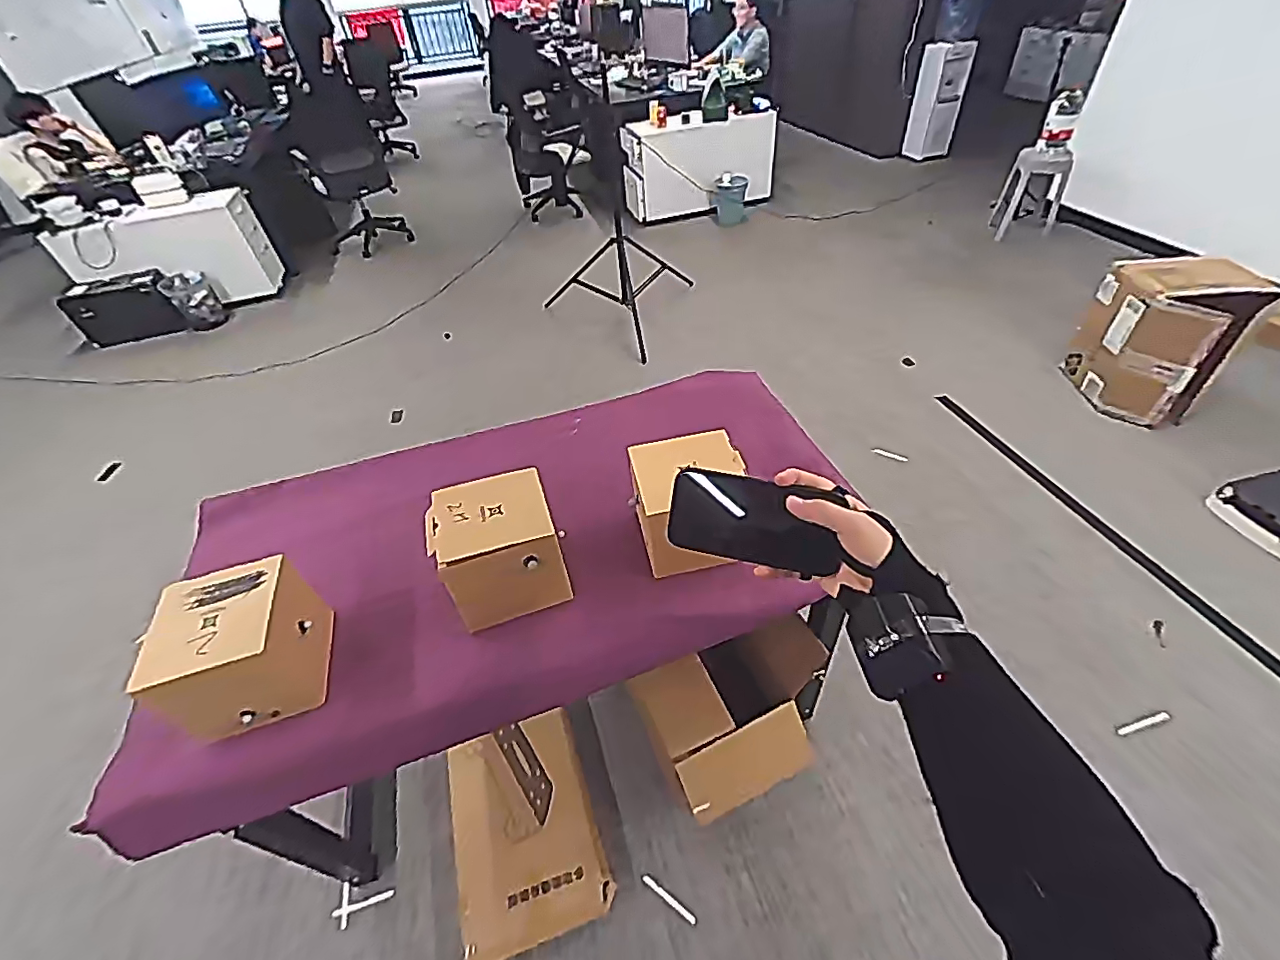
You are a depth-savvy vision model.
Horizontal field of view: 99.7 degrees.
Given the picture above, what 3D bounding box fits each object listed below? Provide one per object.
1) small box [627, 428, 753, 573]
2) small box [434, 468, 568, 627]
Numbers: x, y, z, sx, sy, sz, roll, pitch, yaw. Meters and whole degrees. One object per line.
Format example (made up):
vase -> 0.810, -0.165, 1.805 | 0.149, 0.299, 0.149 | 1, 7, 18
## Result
small box -> 0.084, 0.038, 0.934 | 0.179, 0.176, 0.168 | -11, 44, -5
small box -> -0.224, 0.112, 0.894 | 0.179, 0.176, 0.168 | -17, 43, -10
